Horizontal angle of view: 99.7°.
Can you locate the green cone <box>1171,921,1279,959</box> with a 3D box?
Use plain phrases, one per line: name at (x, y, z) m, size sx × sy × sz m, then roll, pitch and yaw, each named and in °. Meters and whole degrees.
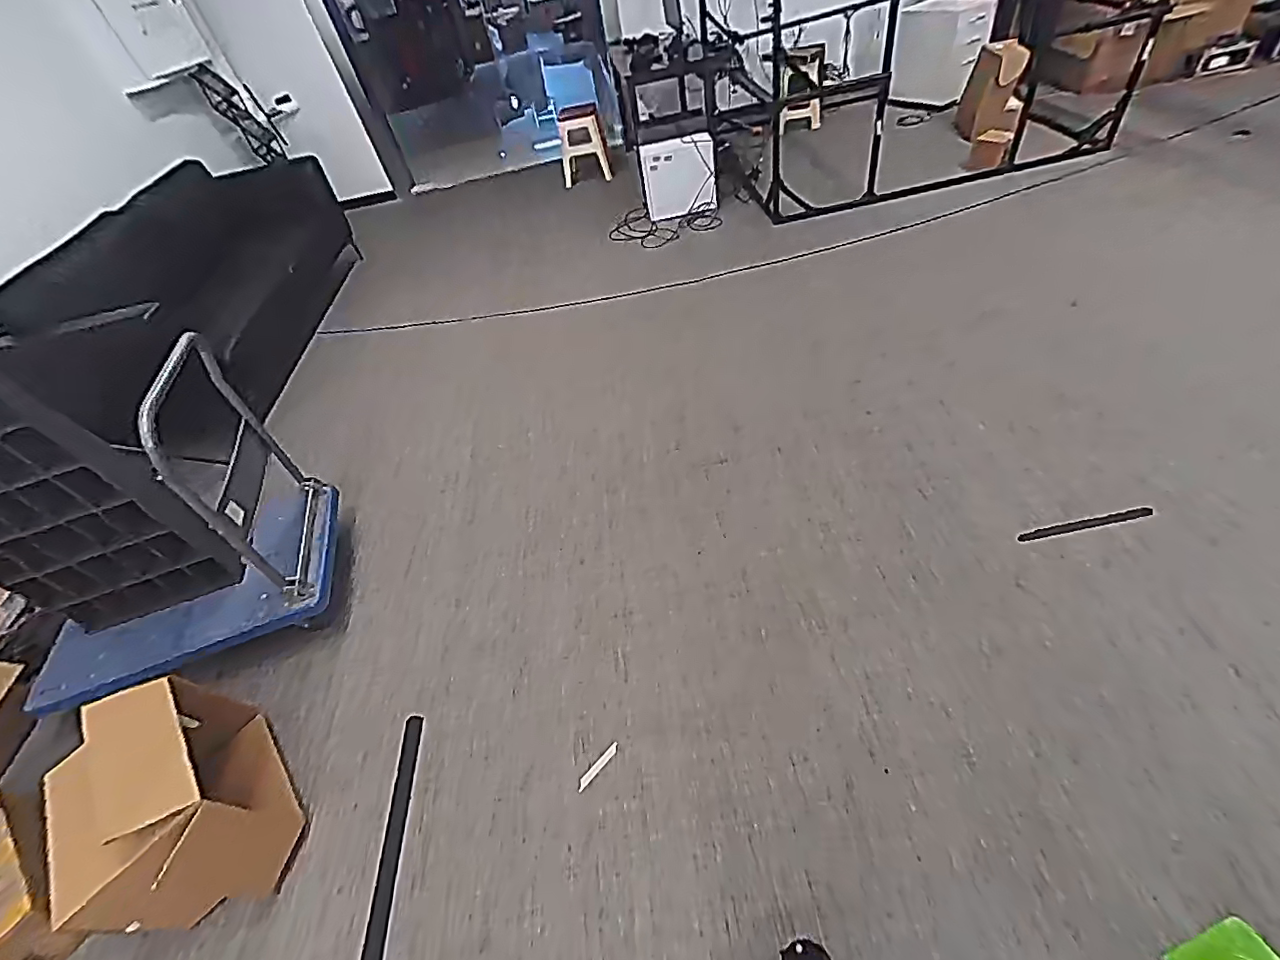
green cone at (1.007, 0.771, 0.776) m, size 0.202 × 0.368 × 0.200 m, roll -22°, pitch 46°, yaw -9°
